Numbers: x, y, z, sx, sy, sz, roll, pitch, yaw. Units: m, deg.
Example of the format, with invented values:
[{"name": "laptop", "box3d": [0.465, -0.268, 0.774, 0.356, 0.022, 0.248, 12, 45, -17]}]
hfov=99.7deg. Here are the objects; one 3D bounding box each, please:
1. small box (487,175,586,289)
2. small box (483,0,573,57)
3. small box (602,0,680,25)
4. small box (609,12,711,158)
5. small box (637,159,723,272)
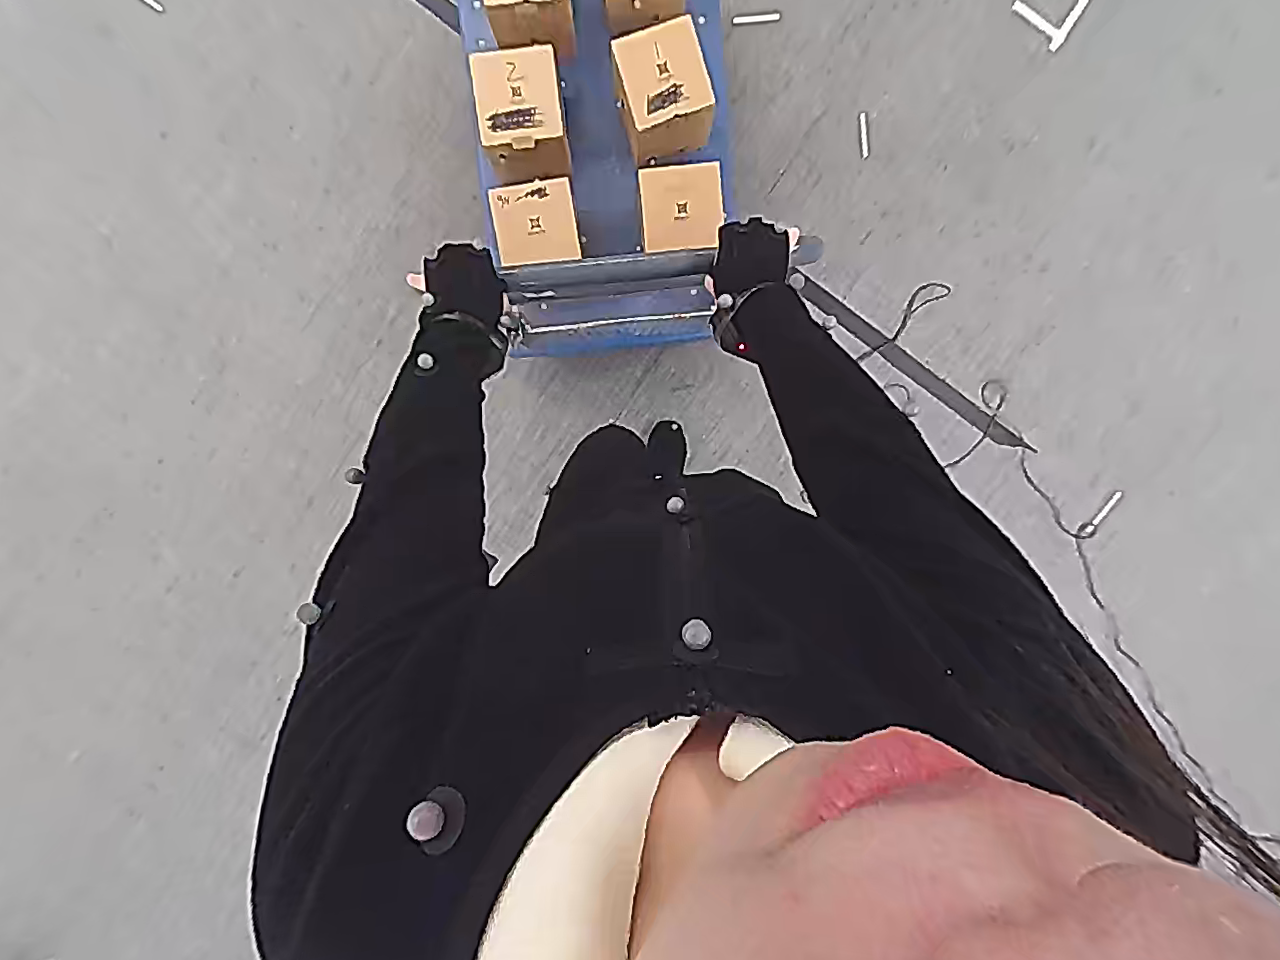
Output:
[{"name": "small box", "box3d": [-0.214, -0.523, 1.167, 0.168, 0.176, 0.179, -10, 97, -1]}, {"name": "small box", "box3d": [-0.232, -1.019, 1.109, 0.168, 0.176, 0.179, -4, 97, 0]}, {"name": "small box", "box3d": [-0.005, -1.081, 1.108, 0.168, 0.176, 0.179, -9, 96, 0]}, {"name": "small box", "box3d": [0.041, -0.814, 1.139, 0.168, 0.176, 0.179, -18, 96, 1]}, {"name": "small box", "box3d": [0.082, -0.561, 1.170, 0.168, 0.176, 0.179, -6, 96, -1]}]
